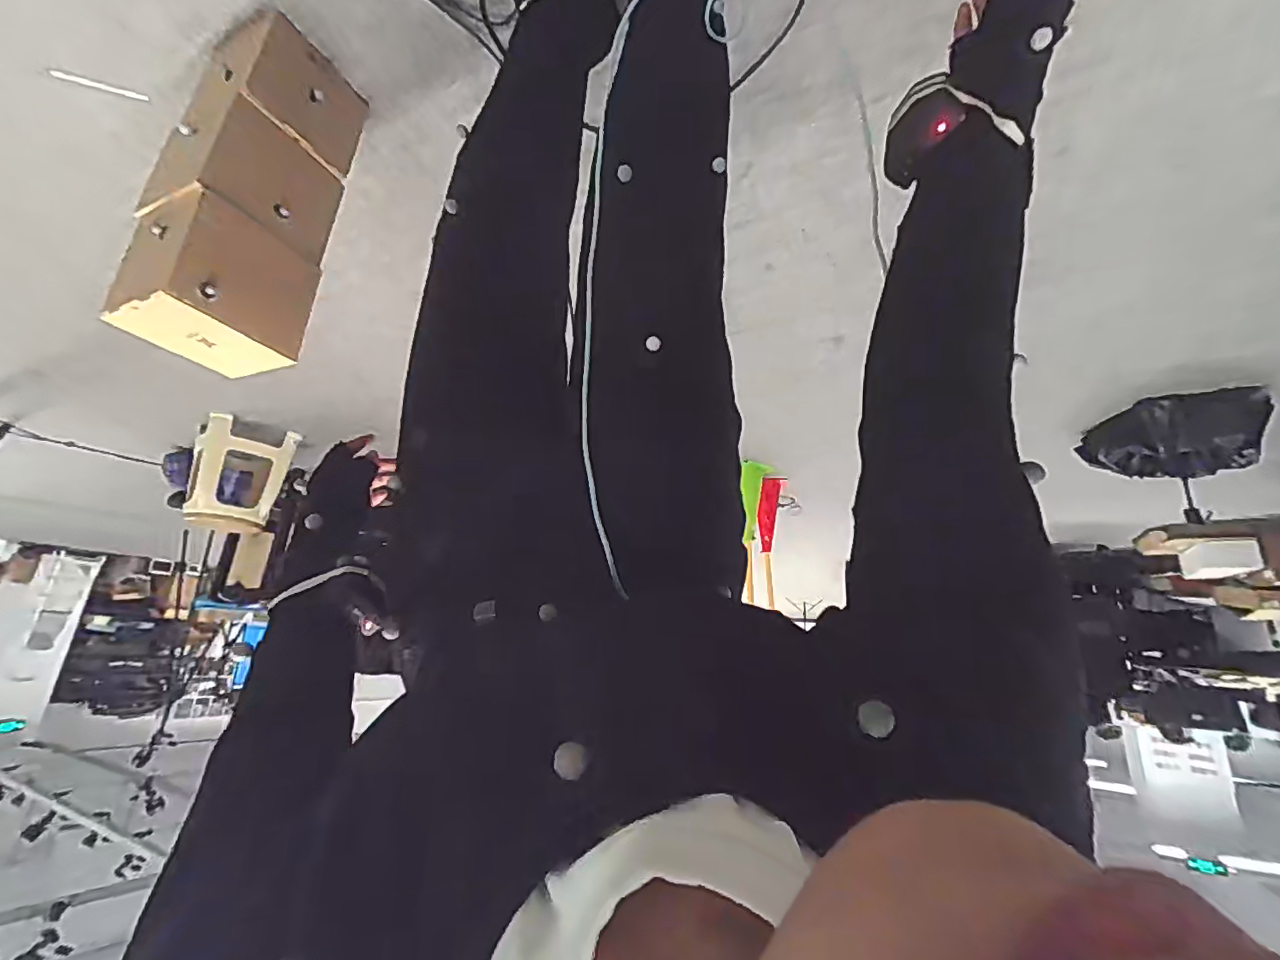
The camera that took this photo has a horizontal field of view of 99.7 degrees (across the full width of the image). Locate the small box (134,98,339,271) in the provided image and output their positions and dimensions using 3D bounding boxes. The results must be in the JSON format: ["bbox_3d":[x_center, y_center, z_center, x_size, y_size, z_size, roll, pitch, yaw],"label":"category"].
[{"bbox_3d":[-0.603,-0.429,0.831,0.168,0.176,0.179,-4,160,24],"label":"small box"}]

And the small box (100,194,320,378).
[{"bbox_3d":[-0.610,-0.272,0.788,0.168,0.176,0.179,-4,160,24],"label":"small box"}]

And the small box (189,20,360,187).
[{"bbox_3d":[-0.586,-0.586,0.879,0.179,0.176,0.168,-5,160,25],"label":"small box"}]
